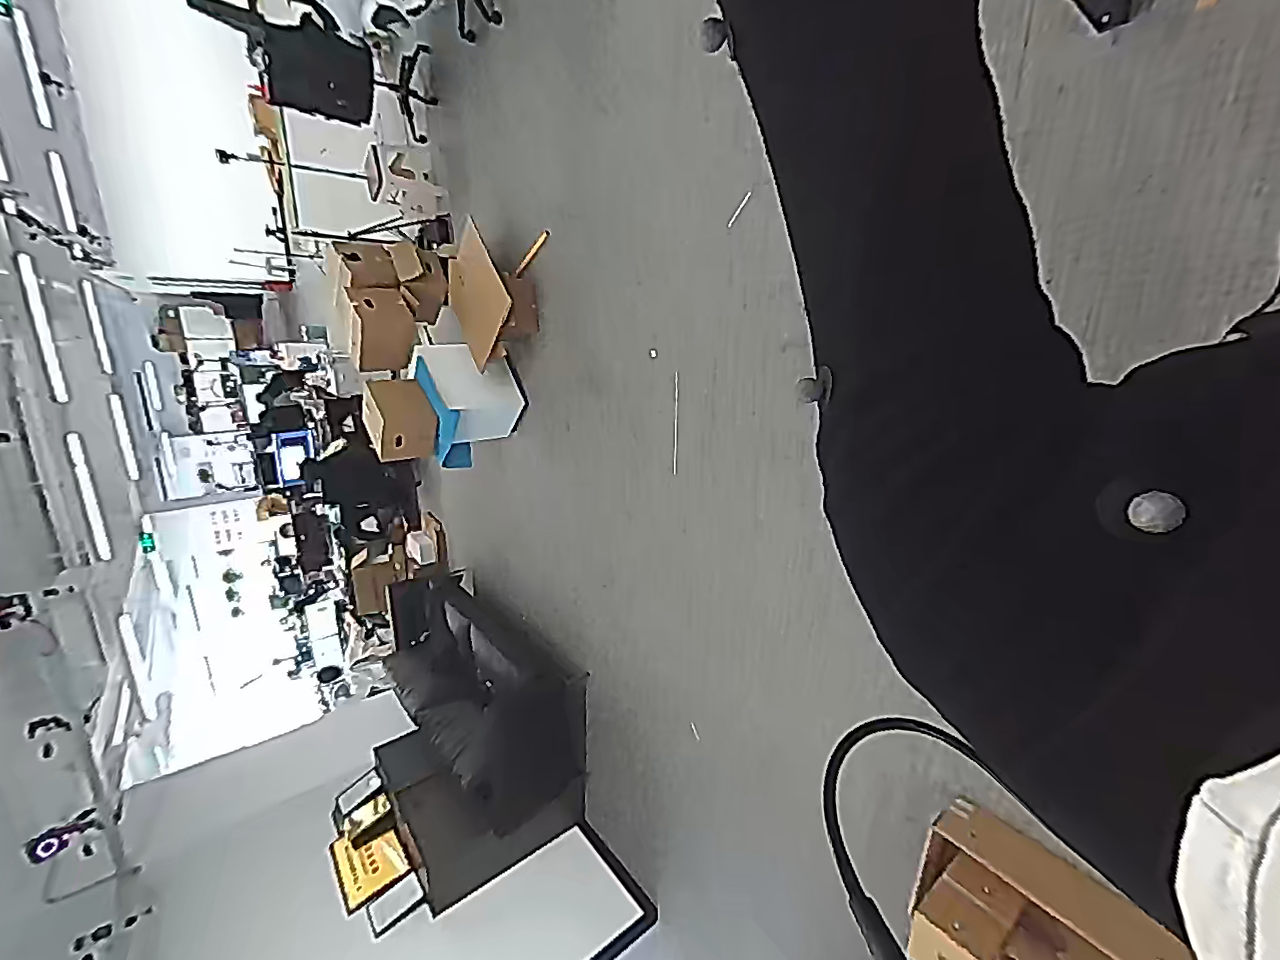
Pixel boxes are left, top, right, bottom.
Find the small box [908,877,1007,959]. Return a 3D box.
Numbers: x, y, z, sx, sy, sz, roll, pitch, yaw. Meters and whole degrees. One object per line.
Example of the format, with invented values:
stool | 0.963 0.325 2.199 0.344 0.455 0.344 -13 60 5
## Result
small box | 0.874 1.255 1.485 0.179 0.176 0.168 20 113 49
